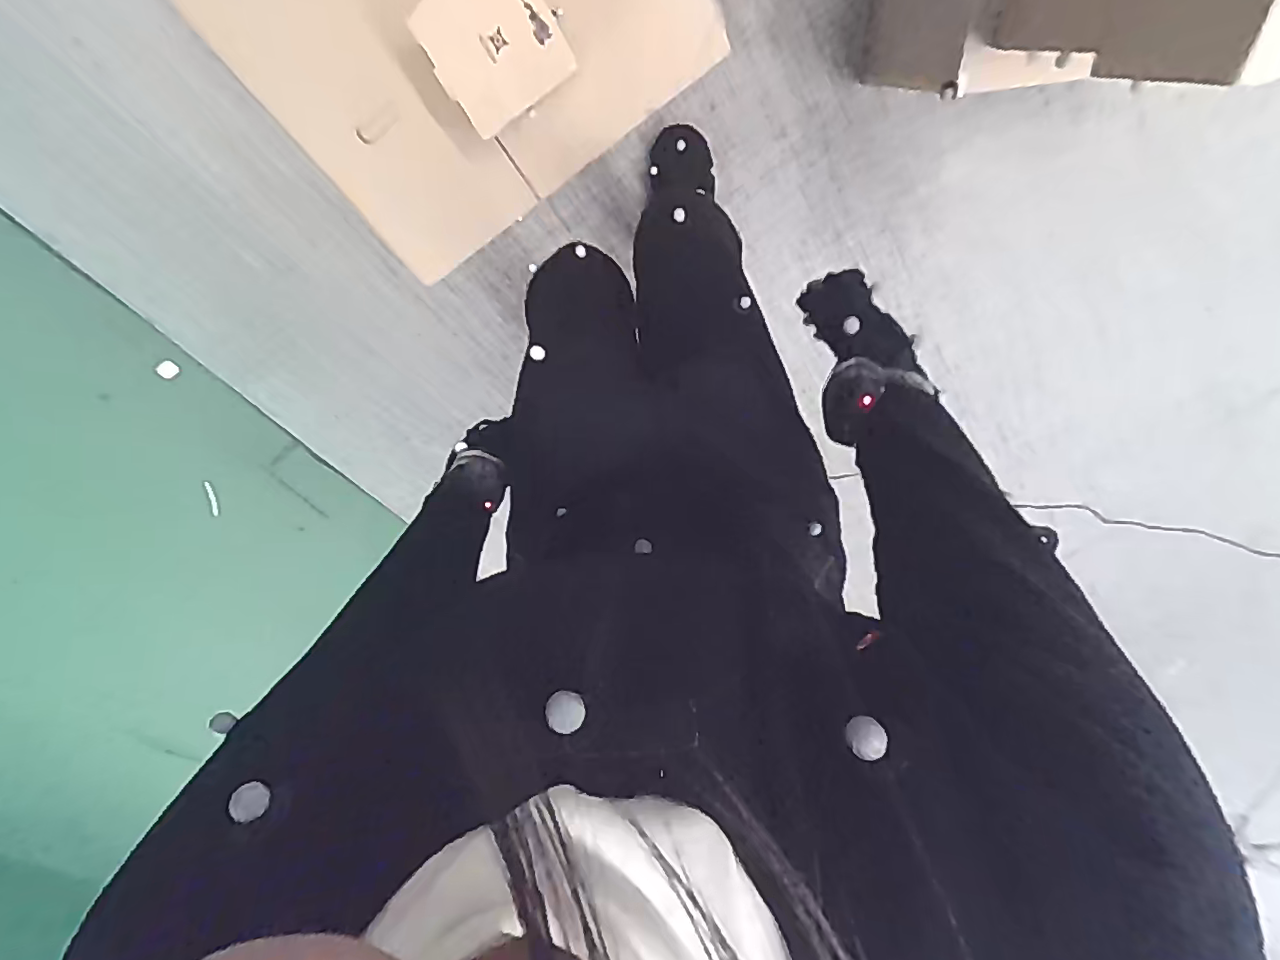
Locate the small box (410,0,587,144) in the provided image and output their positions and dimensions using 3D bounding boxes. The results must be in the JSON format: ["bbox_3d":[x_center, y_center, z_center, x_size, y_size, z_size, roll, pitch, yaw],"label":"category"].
[{"bbox_3d":[-0.197,-0.639,0.807,0.179,0.176,0.168,-28,121,20],"label":"small box"}]

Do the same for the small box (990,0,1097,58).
[{"bbox_3d":[0.492,-0.536,0.539,0.168,0.176,0.179,-3,130,1],"label":"small box"}]
